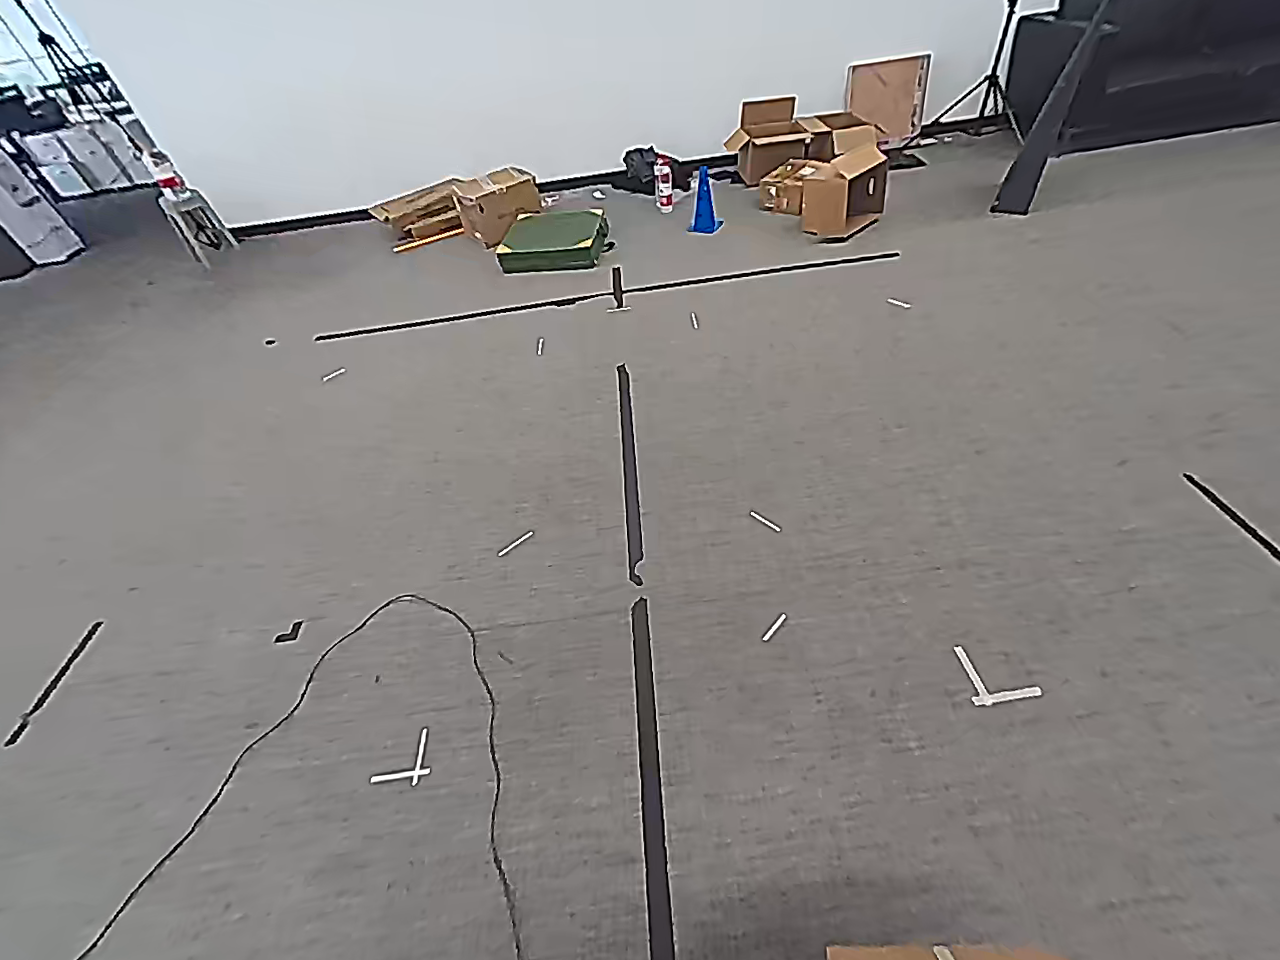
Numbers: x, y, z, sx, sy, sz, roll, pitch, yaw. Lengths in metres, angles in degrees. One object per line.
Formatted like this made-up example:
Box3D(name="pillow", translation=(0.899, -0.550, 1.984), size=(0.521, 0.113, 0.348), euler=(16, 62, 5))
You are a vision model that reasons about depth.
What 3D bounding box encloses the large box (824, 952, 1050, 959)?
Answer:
Box3D(name="large box", translation=(0.395, 0.782, 0.531), size=(0.320, 0.408, 0.320), euler=(-5, 83, 6))
